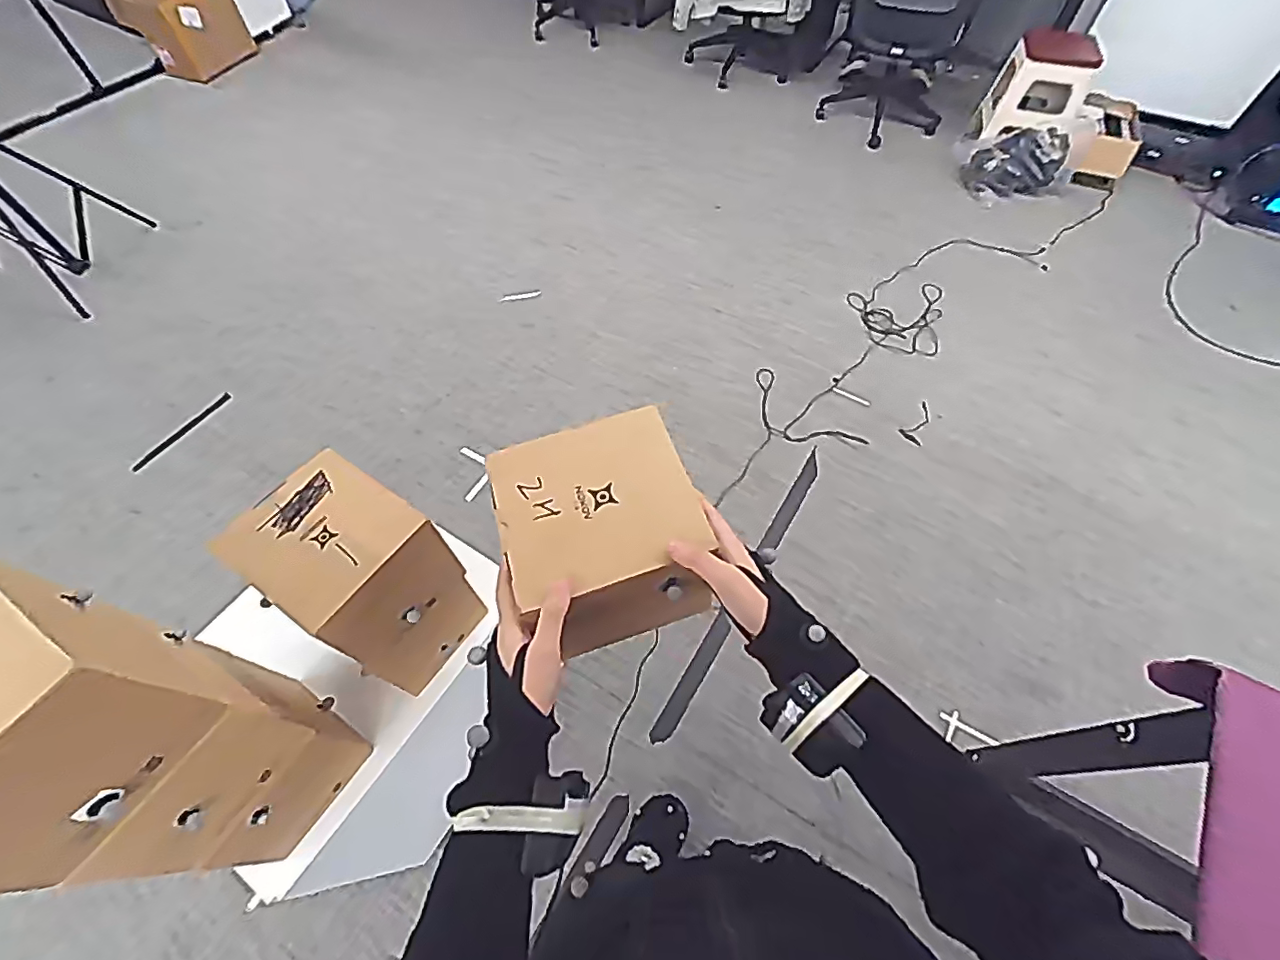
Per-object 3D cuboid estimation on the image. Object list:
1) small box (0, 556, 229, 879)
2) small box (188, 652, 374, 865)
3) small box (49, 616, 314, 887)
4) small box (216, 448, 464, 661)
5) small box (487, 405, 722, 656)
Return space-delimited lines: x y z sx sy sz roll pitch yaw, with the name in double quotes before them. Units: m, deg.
"small box" -0.494 0.187 0.428 0.179 0.176 0.168 27 63 16
"small box" -0.494 0.359 0.703 0.179 0.176 0.168 28 63 18
"small box" -0.493 0.274 0.564 0.179 0.176 0.168 27 62 17
"small box" -0.352 0.099 0.670 0.179 0.176 0.168 31 64 16
"small box" -0.033 0.057 0.545 0.179 0.176 0.168 -18 59 -6
